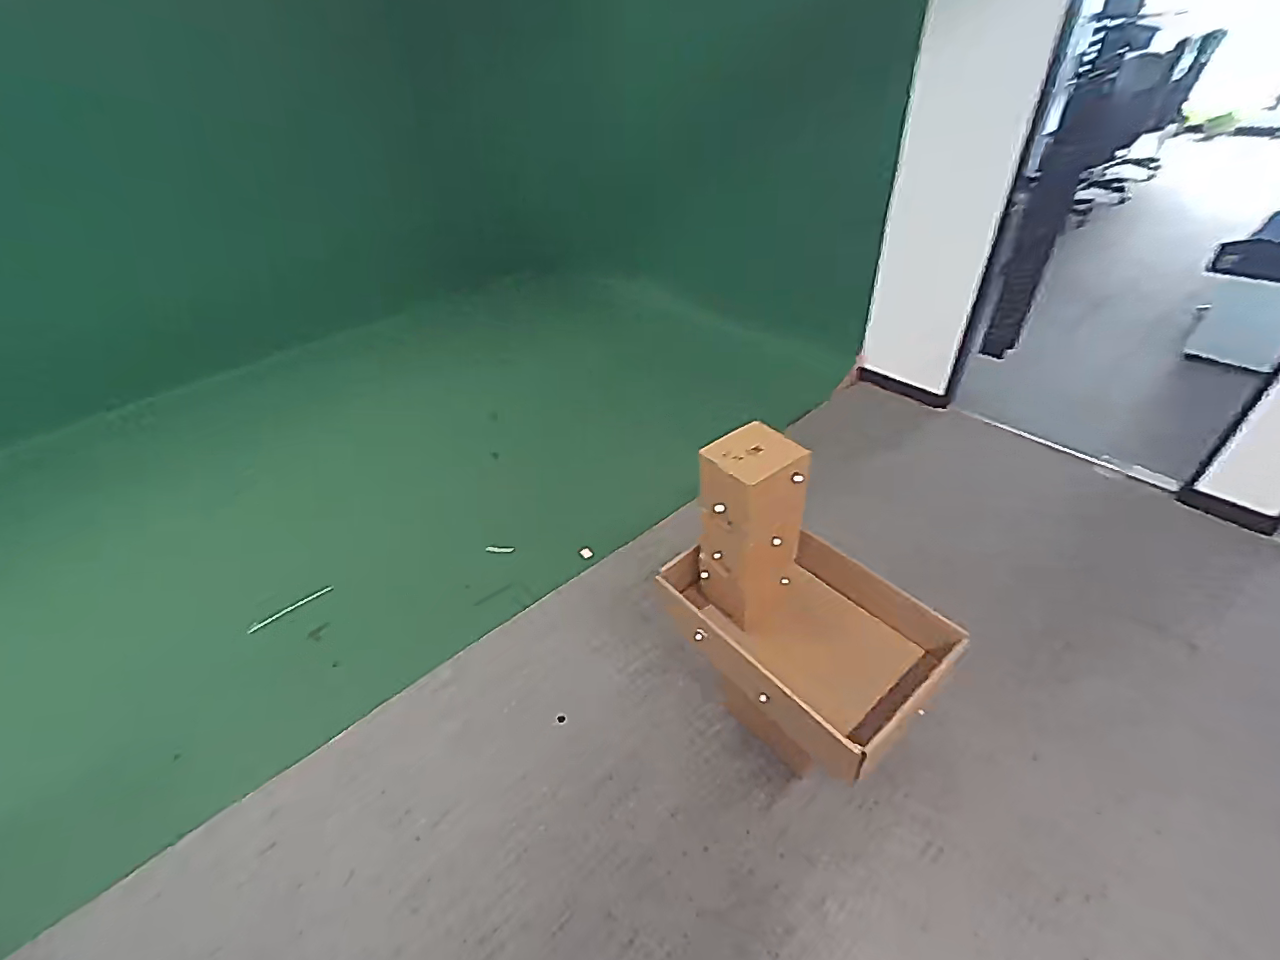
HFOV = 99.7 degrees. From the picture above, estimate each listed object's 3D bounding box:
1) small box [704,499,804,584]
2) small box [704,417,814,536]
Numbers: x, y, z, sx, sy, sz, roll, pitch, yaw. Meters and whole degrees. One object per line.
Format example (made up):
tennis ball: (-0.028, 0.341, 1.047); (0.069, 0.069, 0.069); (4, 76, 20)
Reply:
small box: (0.271, 0.116, 1.318); (0.179, 0.176, 0.168); (-29, 45, -24)
small box: (0.258, -0.009, 1.211); (0.179, 0.176, 0.168); (-27, 44, -22)
